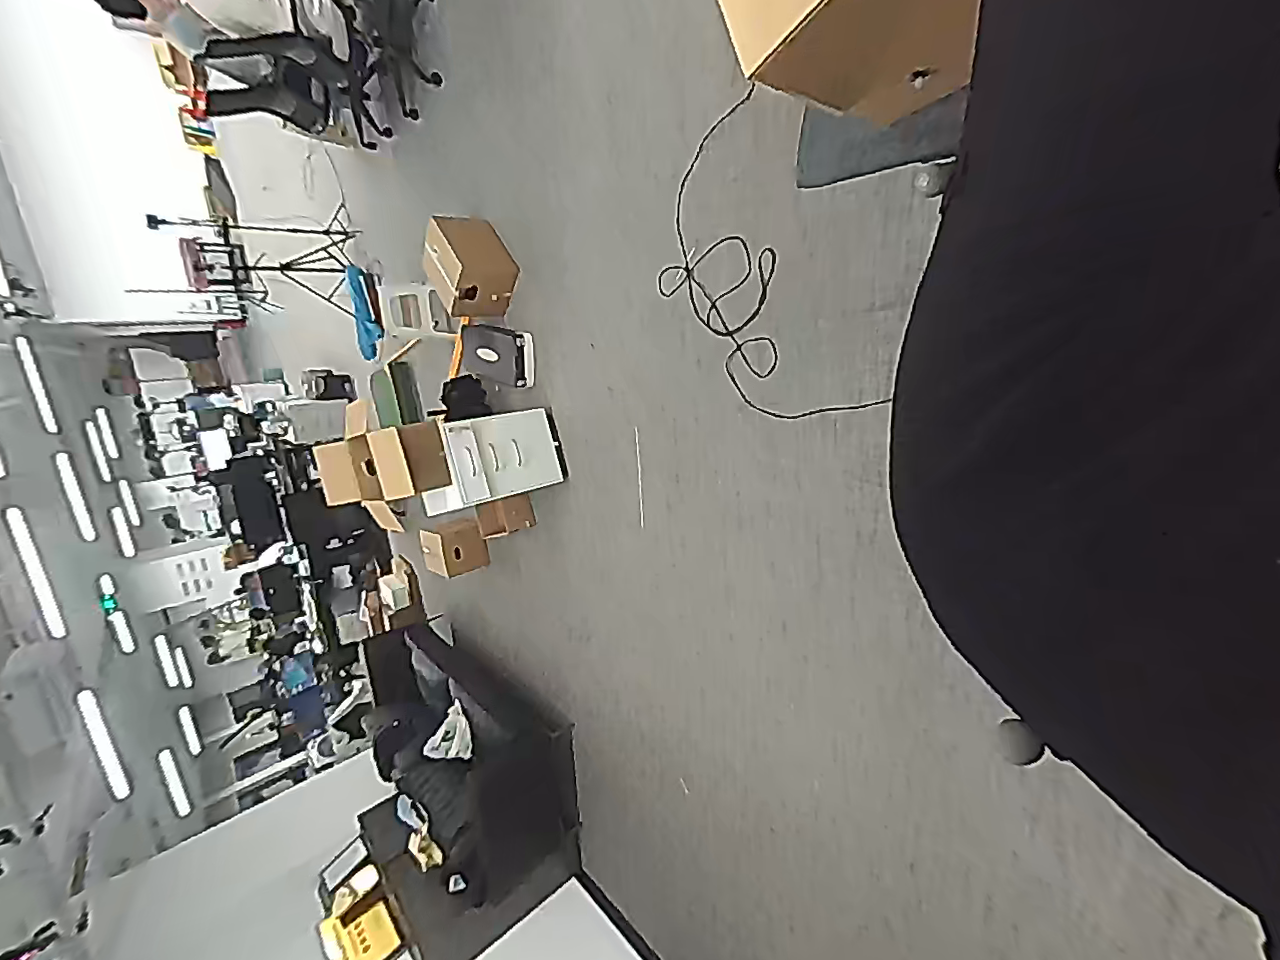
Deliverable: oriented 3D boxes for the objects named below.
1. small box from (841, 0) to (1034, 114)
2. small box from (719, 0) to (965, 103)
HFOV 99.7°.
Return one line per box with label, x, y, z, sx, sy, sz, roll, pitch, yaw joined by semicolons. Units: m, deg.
small box;0.300;-0.534;0.581;0.179;0.176;0.168;-1;103;50
small box;0.182;-0.482;0.481;0.179;0.176;0.168;-20;88;50
